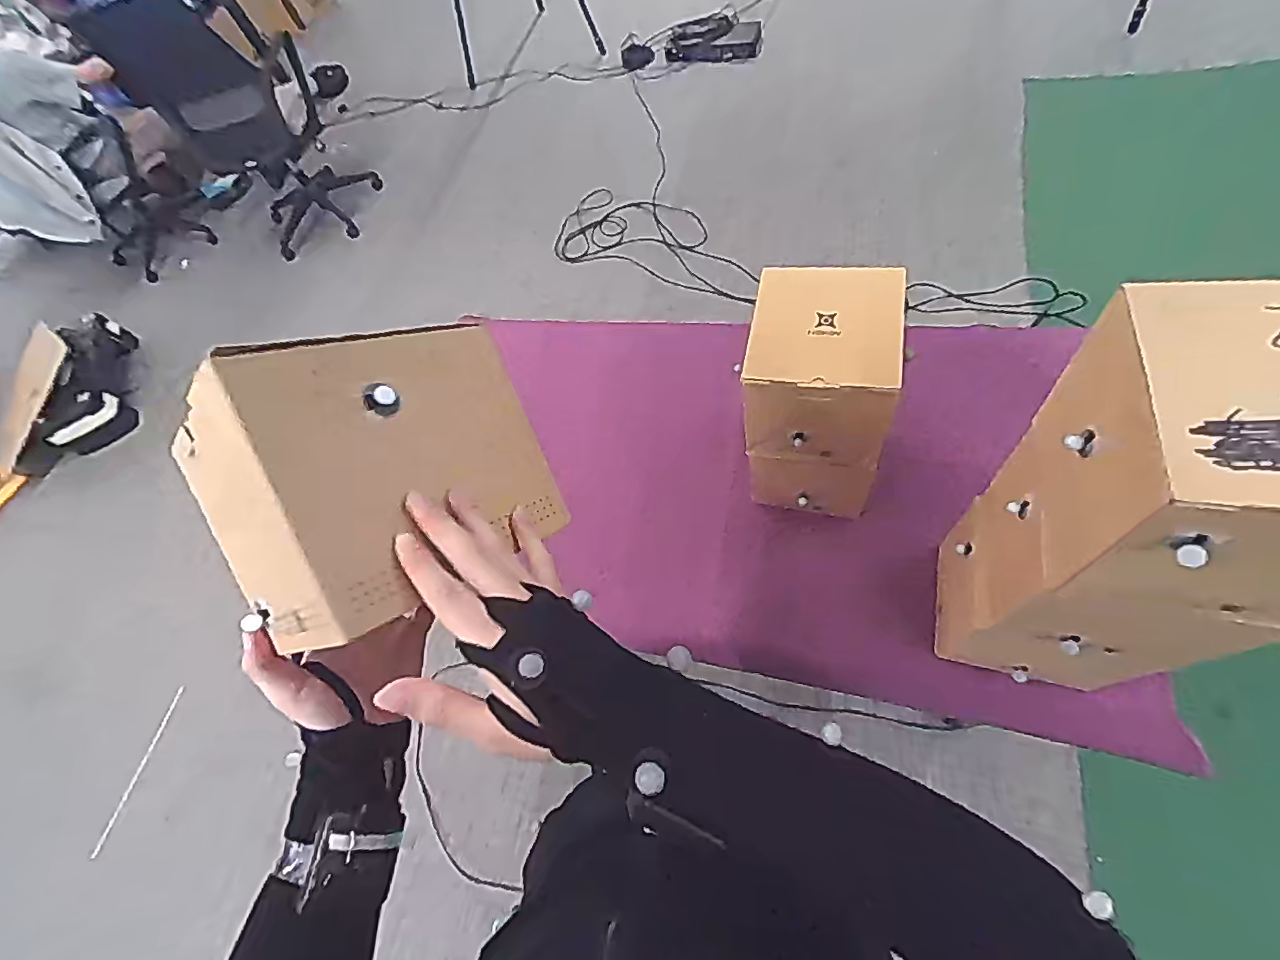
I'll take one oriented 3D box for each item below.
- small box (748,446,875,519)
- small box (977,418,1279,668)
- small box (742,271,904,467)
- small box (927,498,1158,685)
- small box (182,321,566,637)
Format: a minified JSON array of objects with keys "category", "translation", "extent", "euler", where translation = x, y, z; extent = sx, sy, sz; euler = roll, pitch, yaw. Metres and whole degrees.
[{"category":"small box","translation":[0.263,-0.062,0.825],"extent":[0.168,0.176,0.179],"euler":[10,66,18]},{"category":"small box","translation":[0.447,0.065,0.527],"extent":[0.168,0.176,0.179],"euler":[9,65,19]},{"category":"small box","translation":[0.224,-0.137,0.686],"extent":[0.168,0.176,0.179],"euler":[7,66,16]},{"category":"small box","translation":[0.477,0.144,0.667],"extent":[0.179,0.176,0.168],"euler":[10,64,18]},{"category":"small box","translation":[-0.186,0.004,0.400],"extent":[0.168,0.179,0.176],"euler":[-20,95,40]}]
